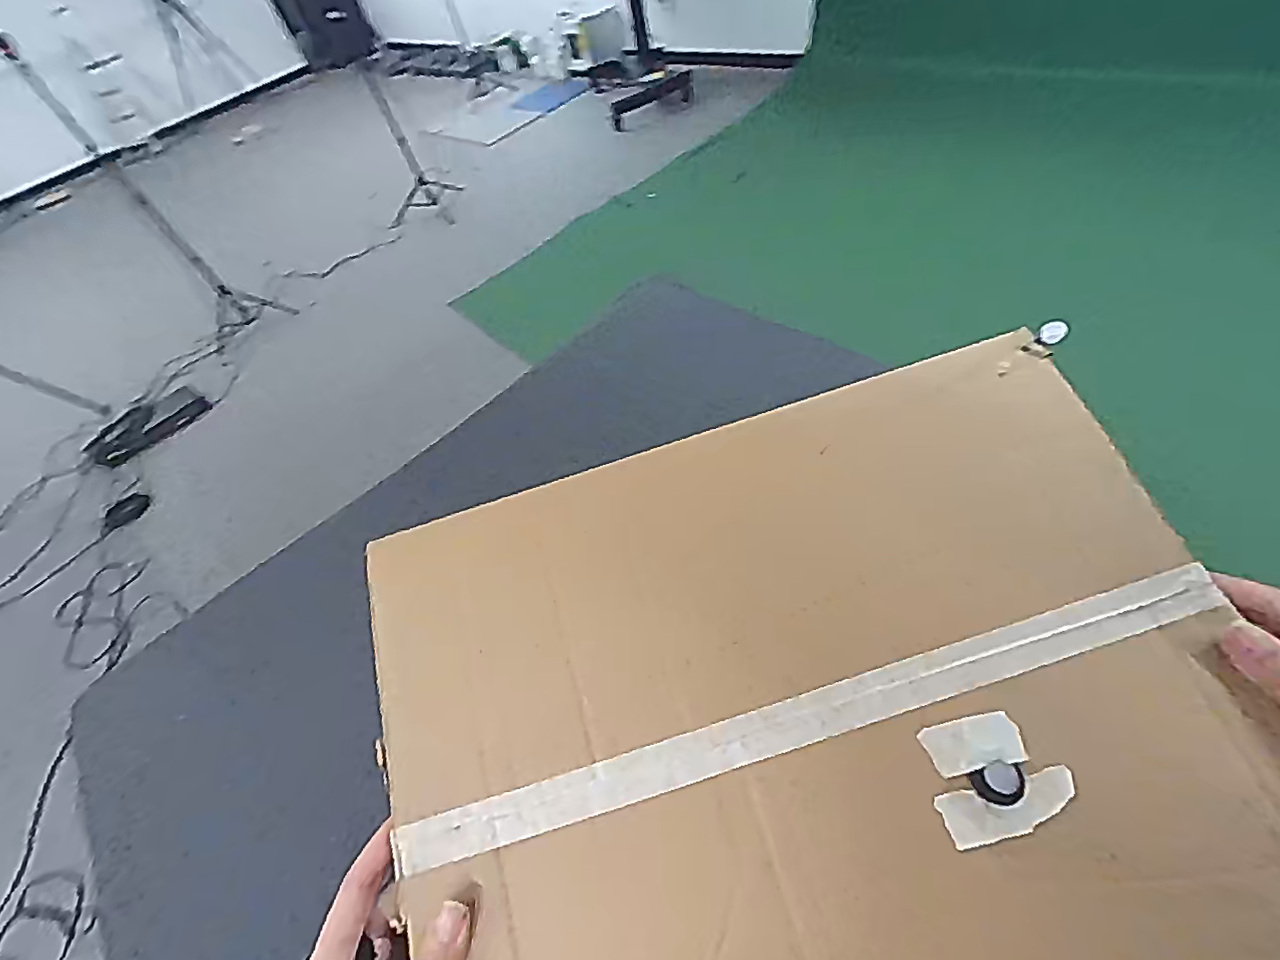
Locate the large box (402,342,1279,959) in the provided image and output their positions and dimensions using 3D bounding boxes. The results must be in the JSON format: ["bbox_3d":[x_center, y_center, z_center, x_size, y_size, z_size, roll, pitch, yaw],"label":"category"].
[{"bbox_3d":[0.100,0.163,0.411,0.408,0.320,0.320,-18,69,-1],"label":"large box"}]
